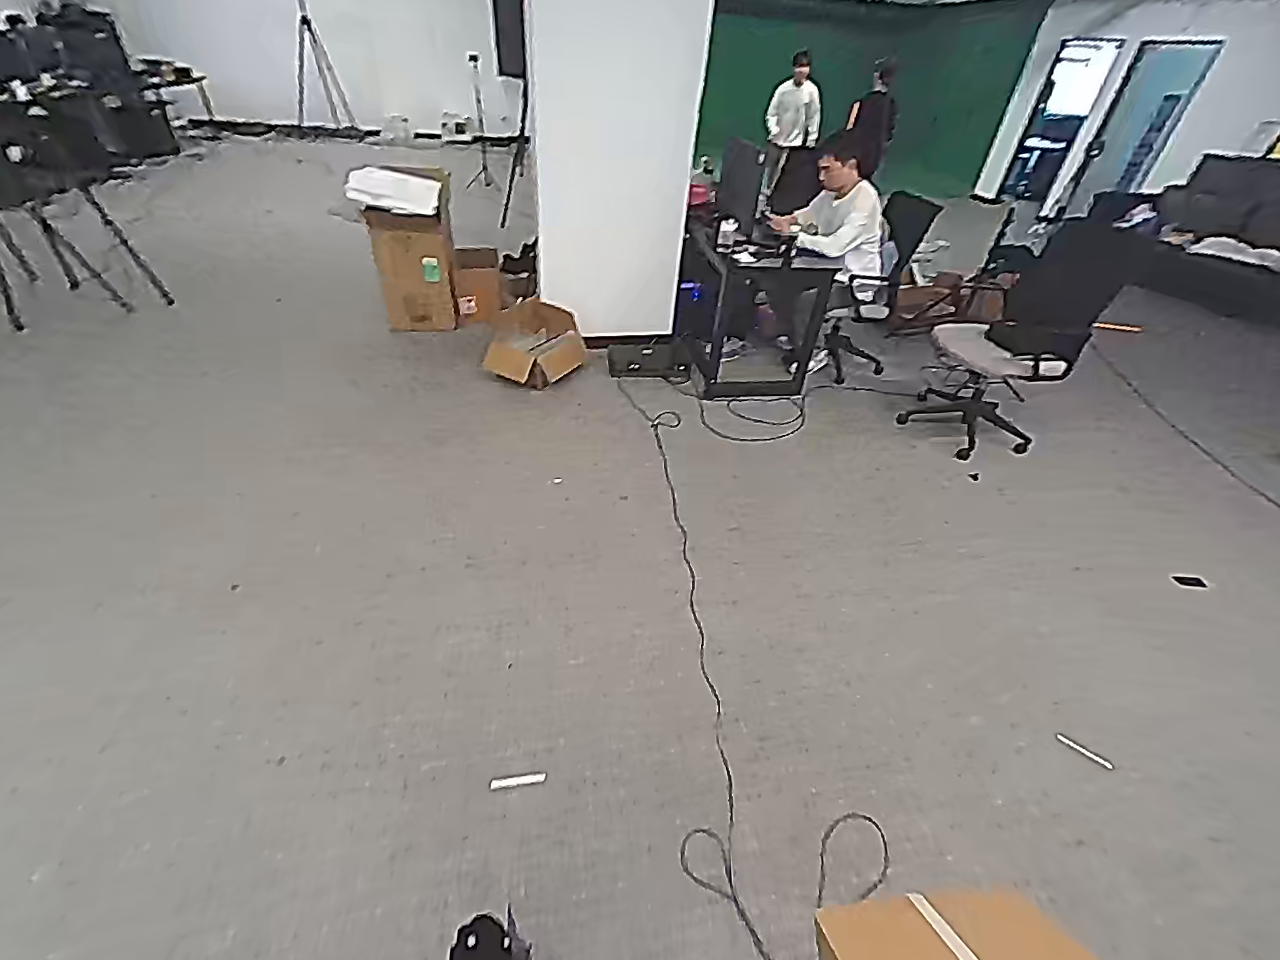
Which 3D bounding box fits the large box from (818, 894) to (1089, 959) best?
[{"bbox_3d":[0.432,0.760,0.603,0.320,0.408,0.320,-4,83,-2],"label":"large box"}]
